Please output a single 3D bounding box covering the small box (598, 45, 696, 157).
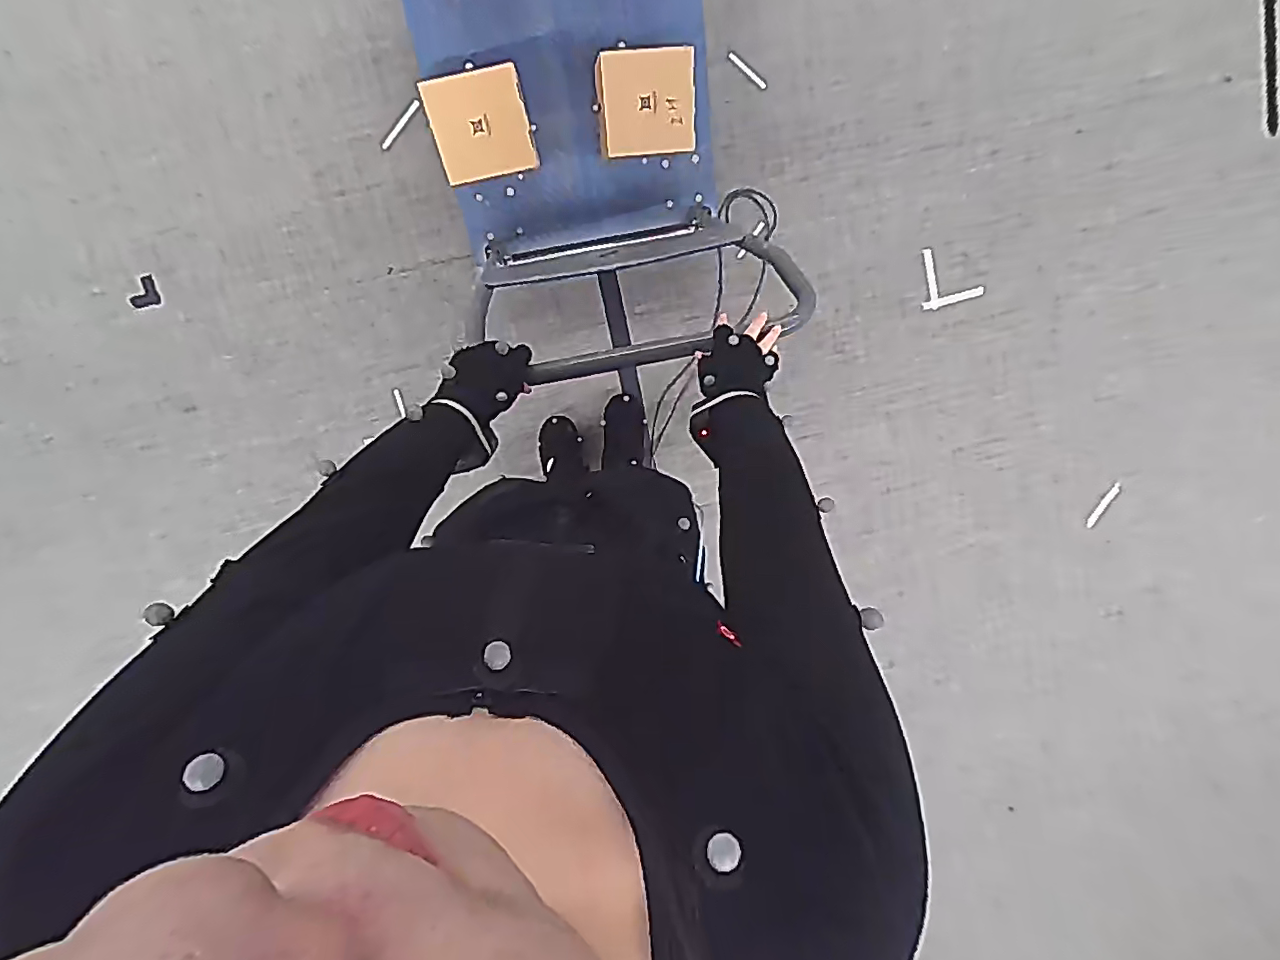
[{"bbox_3d":[0.009,-0.745,1.077,0.179,0.176,0.168,-7,121,-5],"label":"small box"}]

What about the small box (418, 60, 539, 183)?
[{"bbox_3d":[-0.303,-0.690,1.058,0.179,0.176,0.168,-14,120,-2],"label":"small box"}]
